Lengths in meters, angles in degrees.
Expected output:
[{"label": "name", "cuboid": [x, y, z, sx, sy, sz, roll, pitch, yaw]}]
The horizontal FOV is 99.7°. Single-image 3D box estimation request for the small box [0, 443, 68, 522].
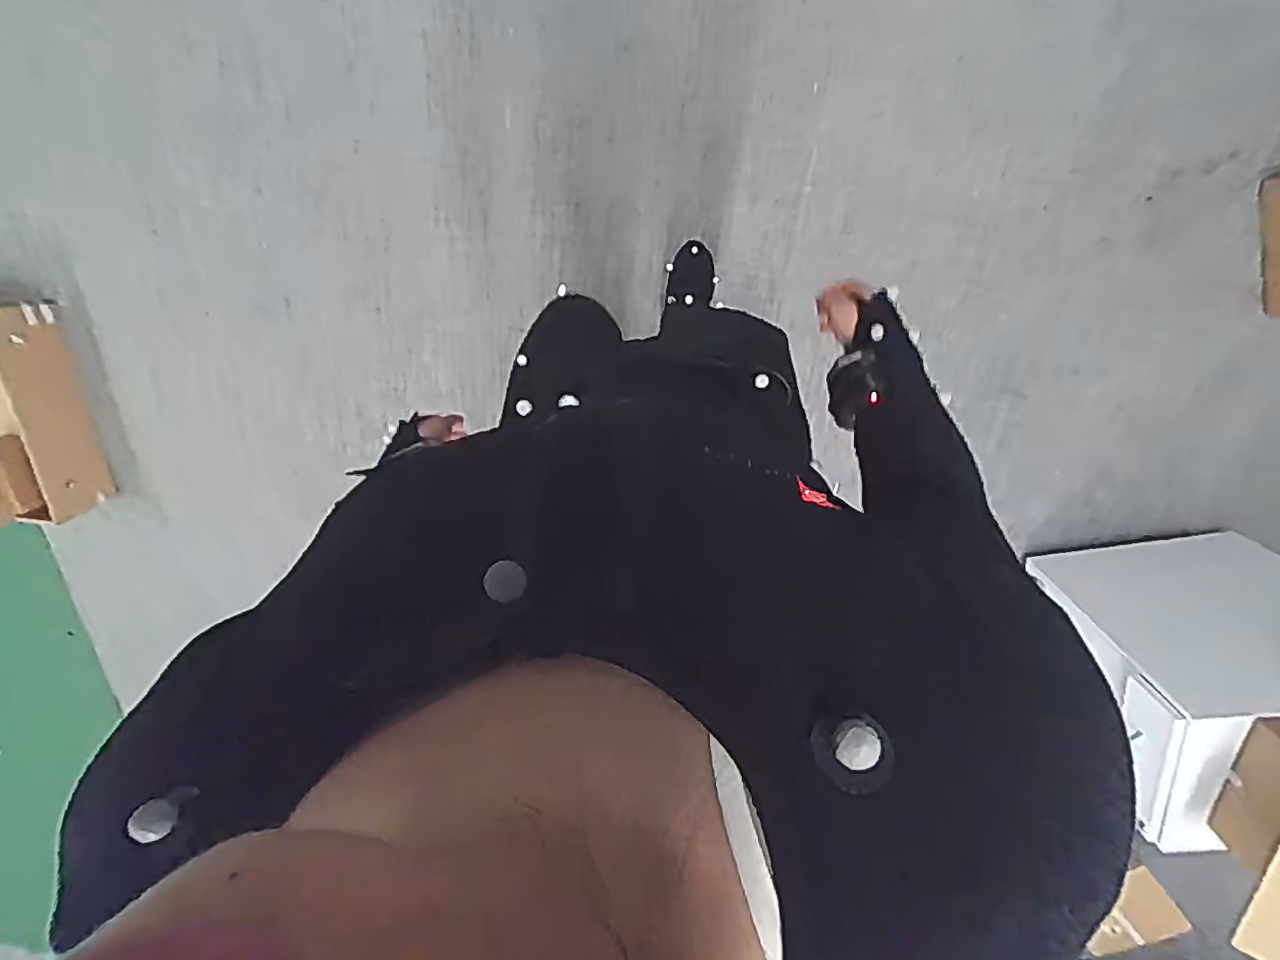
[{"label": "small box", "cuboid": [-1.805, 0.002, 1.528, 0.179, 0.176, 0.168, 4, 115, 1]}]
